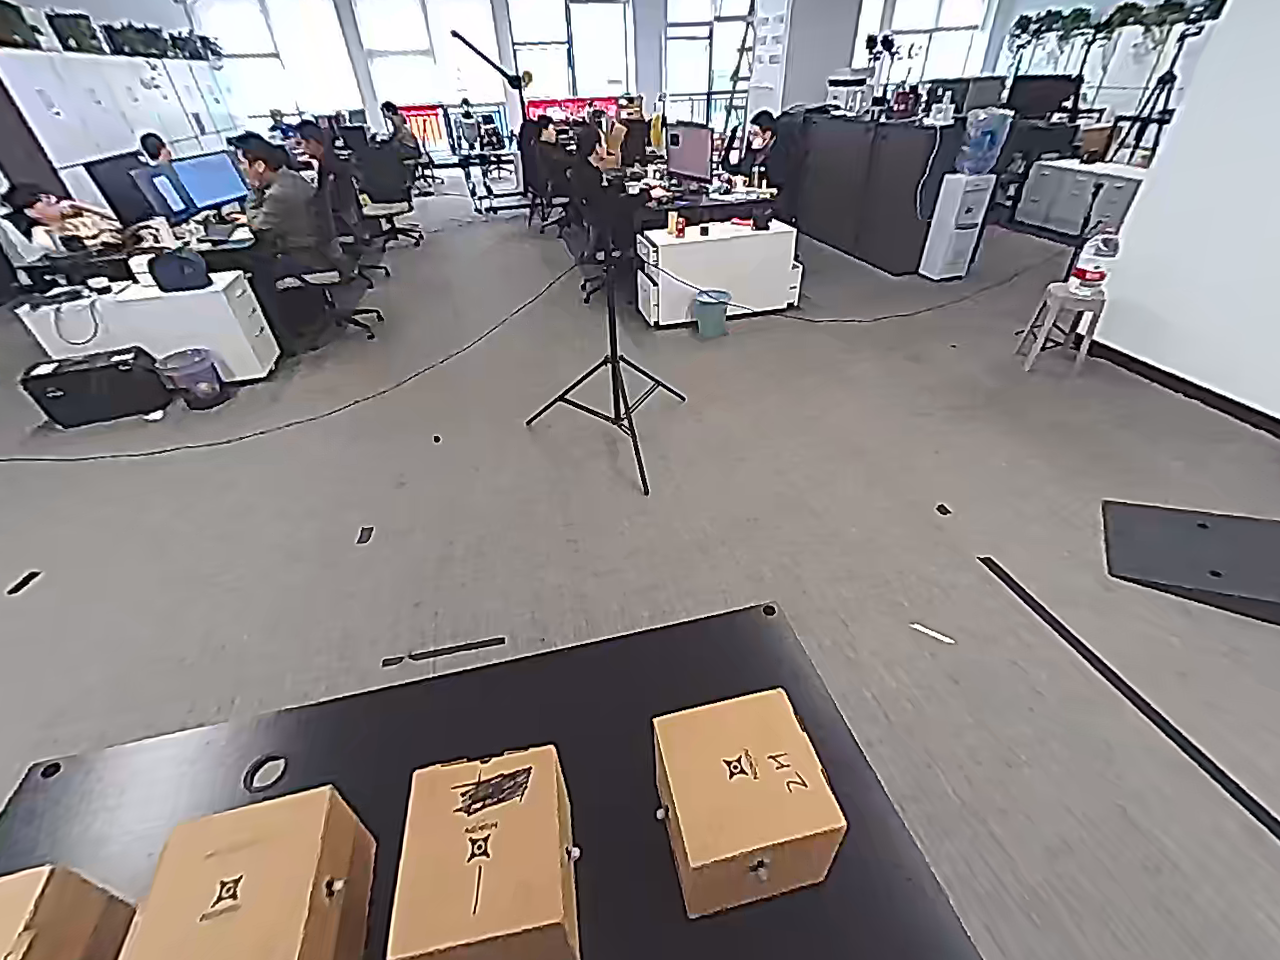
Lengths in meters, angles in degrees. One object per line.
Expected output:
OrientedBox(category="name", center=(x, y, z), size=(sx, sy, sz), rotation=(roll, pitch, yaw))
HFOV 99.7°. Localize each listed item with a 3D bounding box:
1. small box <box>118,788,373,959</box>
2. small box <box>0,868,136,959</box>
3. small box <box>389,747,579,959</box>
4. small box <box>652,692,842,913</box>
OrientedBox(category="small box", center=(-0.409, 0.480, 0.587), size=(0.168, 0.176, 0.179), rotation=(-10, 37, -11))
OrientedBox(category="small box", center=(-0.660, 0.528, 0.532), size=(0.179, 0.176, 0.168), rotation=(-10, 37, -13))
OrientedBox(category="small box", center=(-0.164, 0.445, 0.620), size=(0.168, 0.176, 0.179), rotation=(-7, 38, -7))
OrientedBox(category="small box", center=(0.119, 0.397, 0.669), size=(0.179, 0.176, 0.168), rotation=(-9, 37, -8))
